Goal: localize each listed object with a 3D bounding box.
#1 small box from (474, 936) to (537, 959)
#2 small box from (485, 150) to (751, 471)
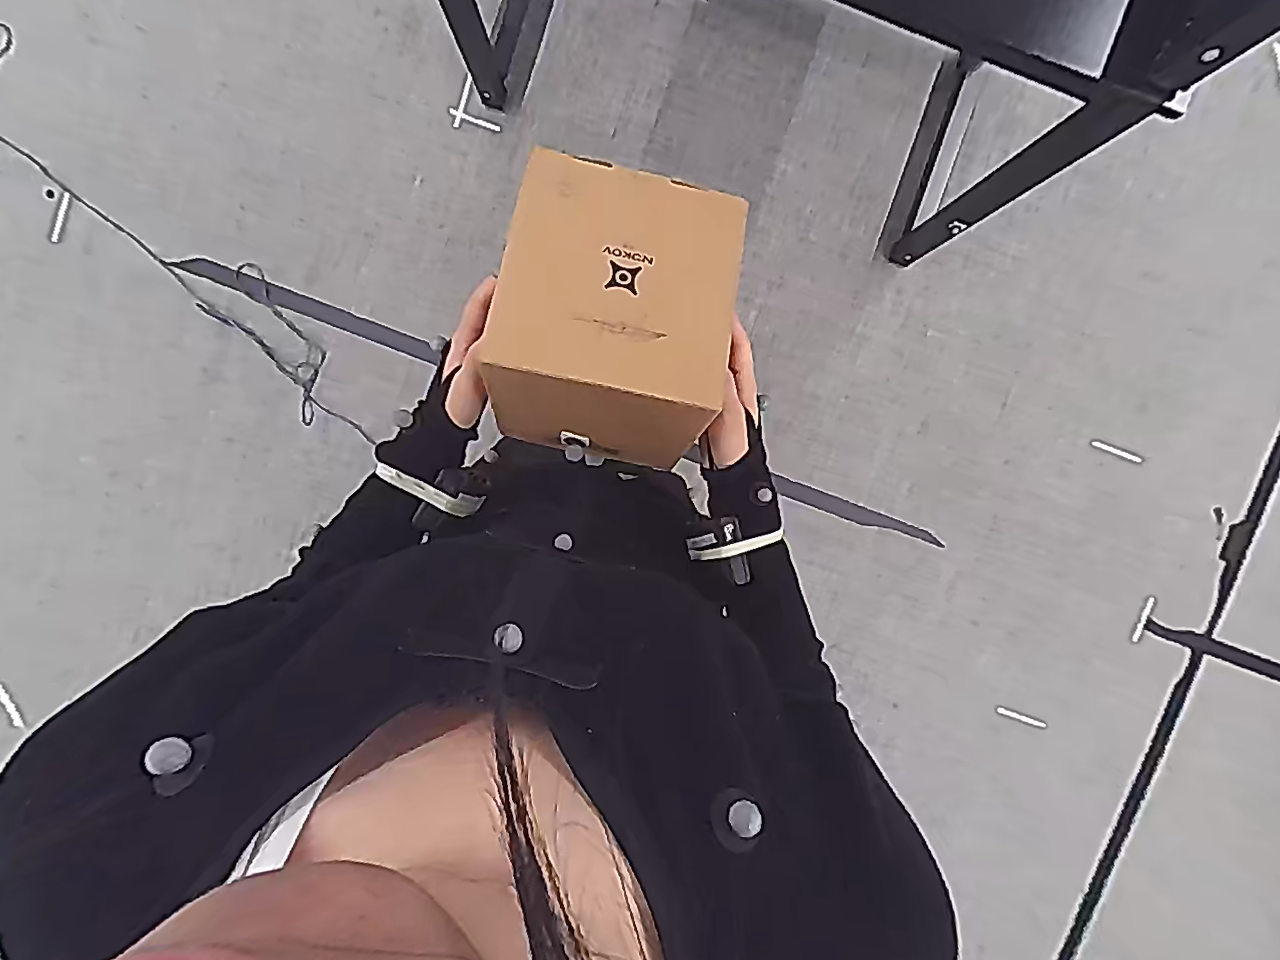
[{"bbox_3d":[-0.388,1.421,1.506,0.179,0.176,0.168,7,94,-4],"label":"small box"},{"bbox_3d":[-0.020,-0.123,0.452,0.168,0.176,0.179,11,76,-5],"label":"small box"}]
